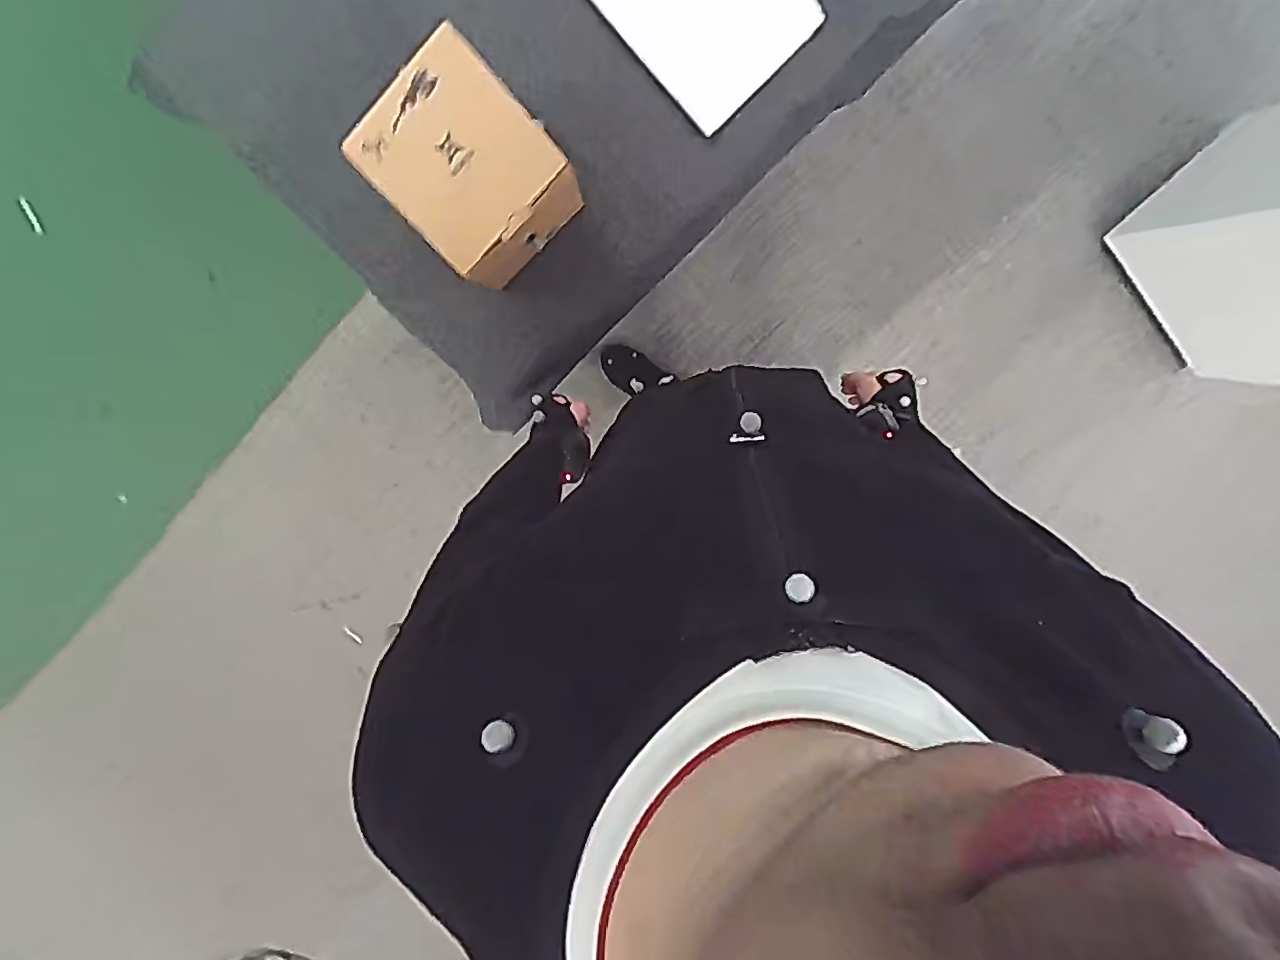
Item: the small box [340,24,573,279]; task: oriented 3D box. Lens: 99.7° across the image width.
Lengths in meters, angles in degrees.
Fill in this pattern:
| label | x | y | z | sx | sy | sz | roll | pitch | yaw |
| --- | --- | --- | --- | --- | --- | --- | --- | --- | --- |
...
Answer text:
| label | x | y | z | sx | sy | sz | roll | pitch | yaw |
| --- | --- | --- | --- | --- | --- | --- | --- | --- | --- |
| small box | -0.196 | -0.360 | 0.638 | 0.168 | 0.176 | 0.179 | -42 | 103 | 10 |
